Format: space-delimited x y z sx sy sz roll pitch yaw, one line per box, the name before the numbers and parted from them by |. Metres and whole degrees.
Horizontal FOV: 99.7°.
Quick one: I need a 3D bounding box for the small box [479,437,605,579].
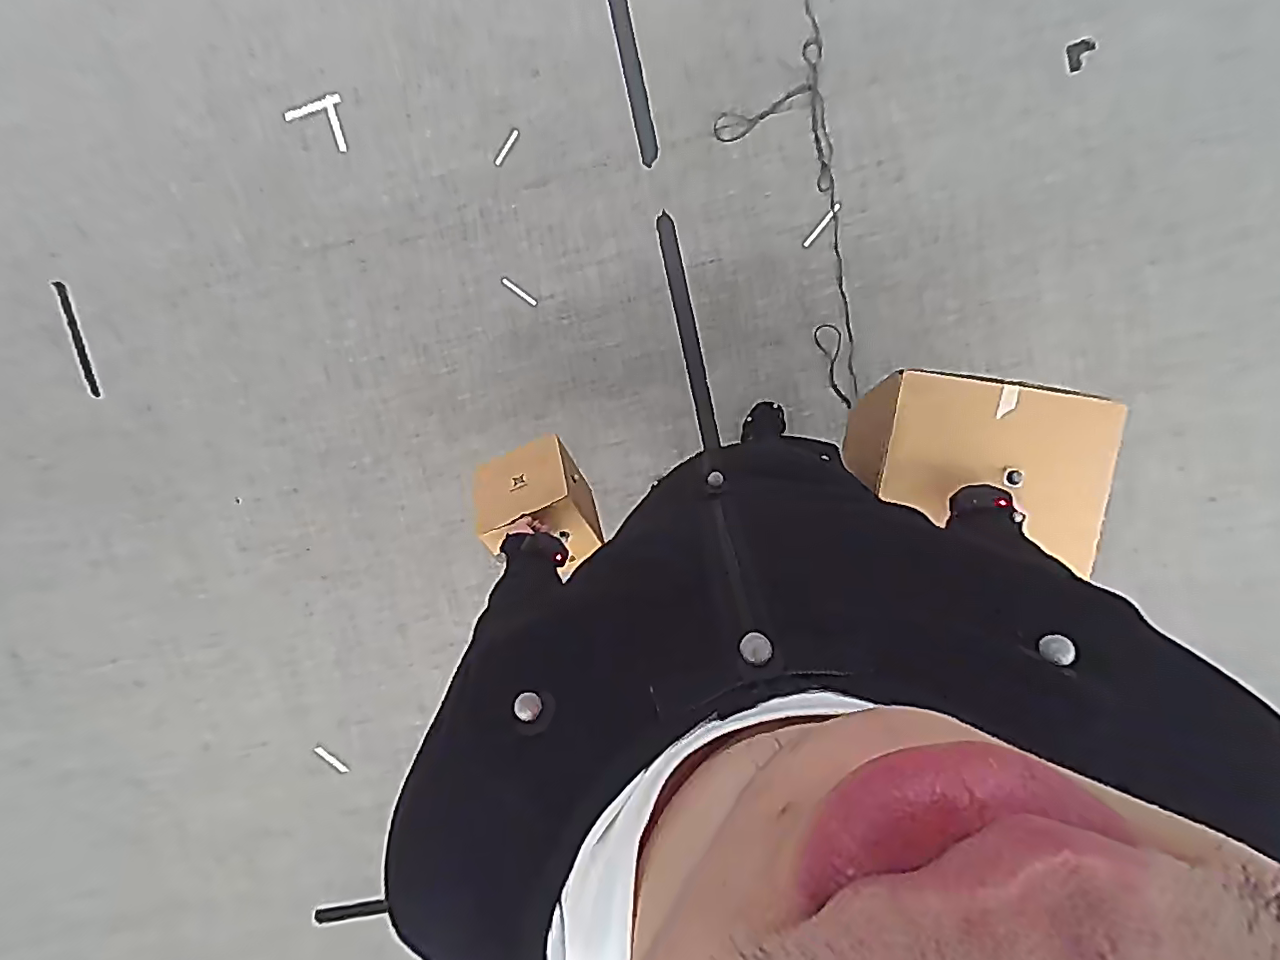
small box | -0.177 0.059 0.989 0.168 0.179 0.176 -23 133 3
